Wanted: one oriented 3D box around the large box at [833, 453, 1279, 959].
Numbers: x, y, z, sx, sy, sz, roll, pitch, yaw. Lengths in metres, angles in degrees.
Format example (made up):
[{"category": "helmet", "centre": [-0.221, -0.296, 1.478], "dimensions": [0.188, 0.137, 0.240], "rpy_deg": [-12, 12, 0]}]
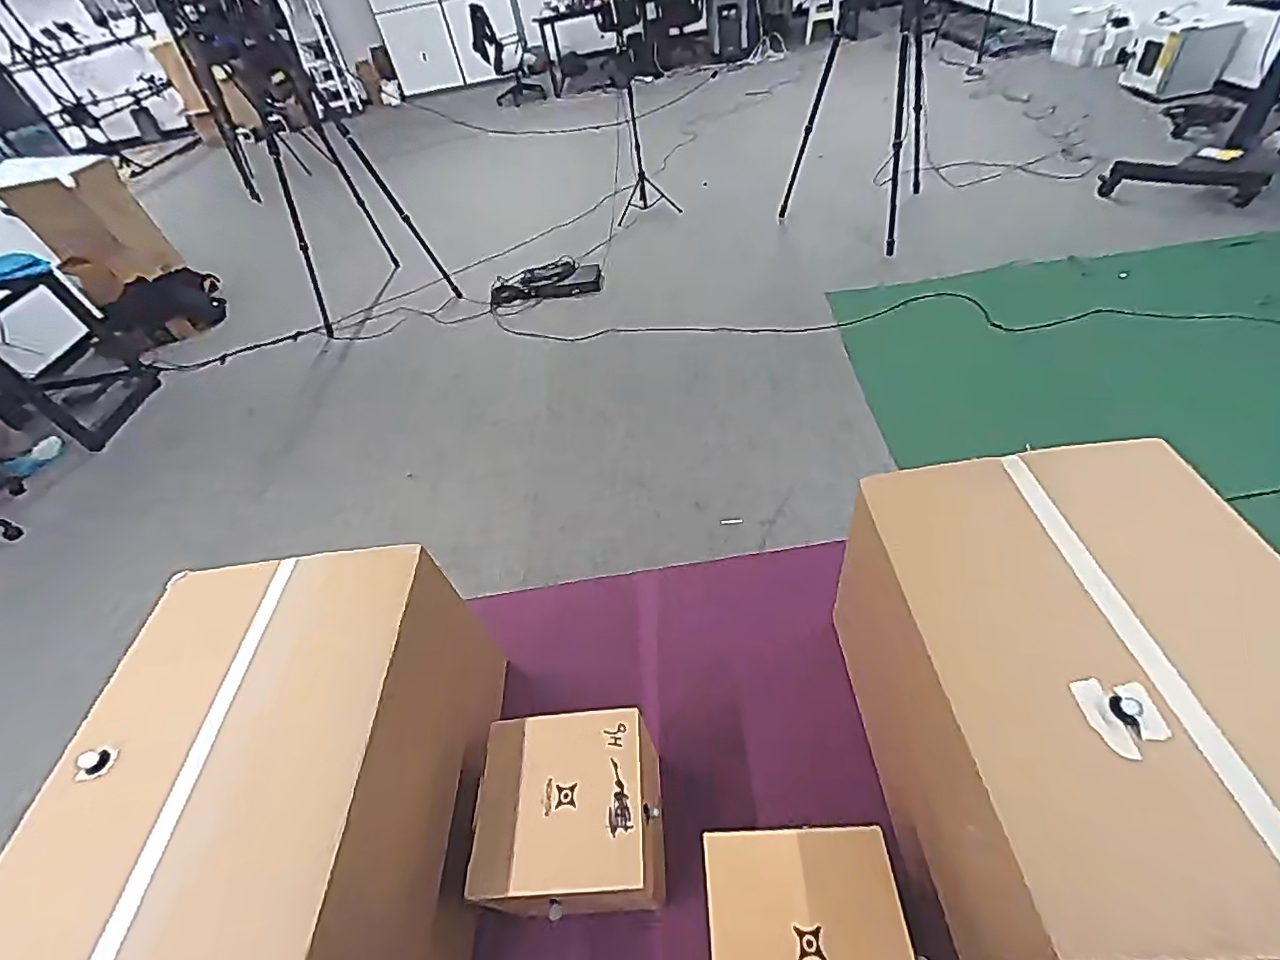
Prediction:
[{"category": "large box", "centre": [0.426, 0.230, 0.564], "dimensions": [0.320, 0.320, 0.408], "rpy_deg": [-7, 47, 5]}]
